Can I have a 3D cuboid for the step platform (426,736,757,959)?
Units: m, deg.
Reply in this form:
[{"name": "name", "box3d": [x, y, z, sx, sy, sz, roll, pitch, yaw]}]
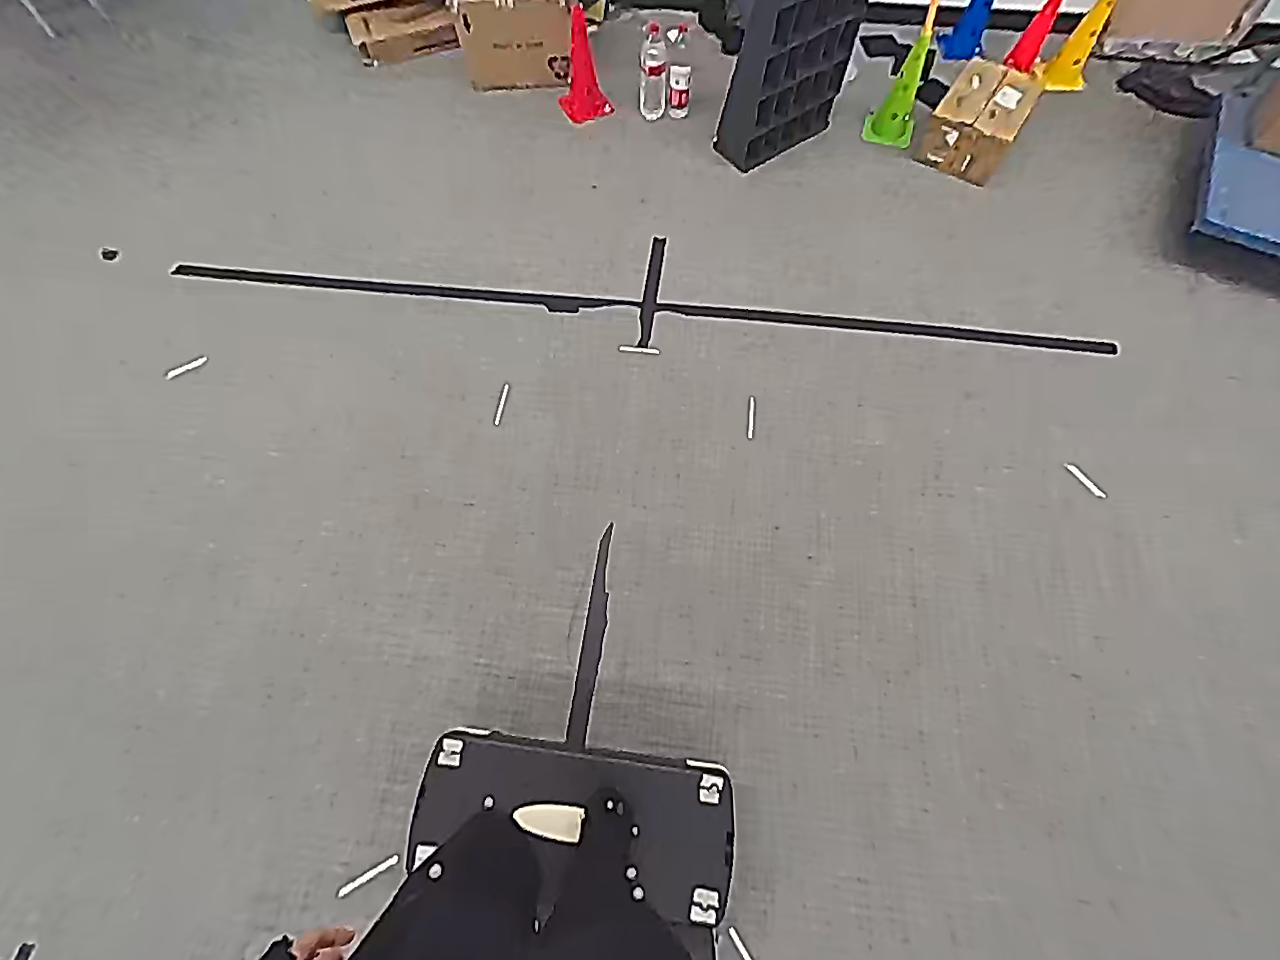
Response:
[{"name": "step platform", "box3d": [-0.095, 0.778, 1.174, 0.684, 0.204, 0.286, 11, 65, 5]}]
